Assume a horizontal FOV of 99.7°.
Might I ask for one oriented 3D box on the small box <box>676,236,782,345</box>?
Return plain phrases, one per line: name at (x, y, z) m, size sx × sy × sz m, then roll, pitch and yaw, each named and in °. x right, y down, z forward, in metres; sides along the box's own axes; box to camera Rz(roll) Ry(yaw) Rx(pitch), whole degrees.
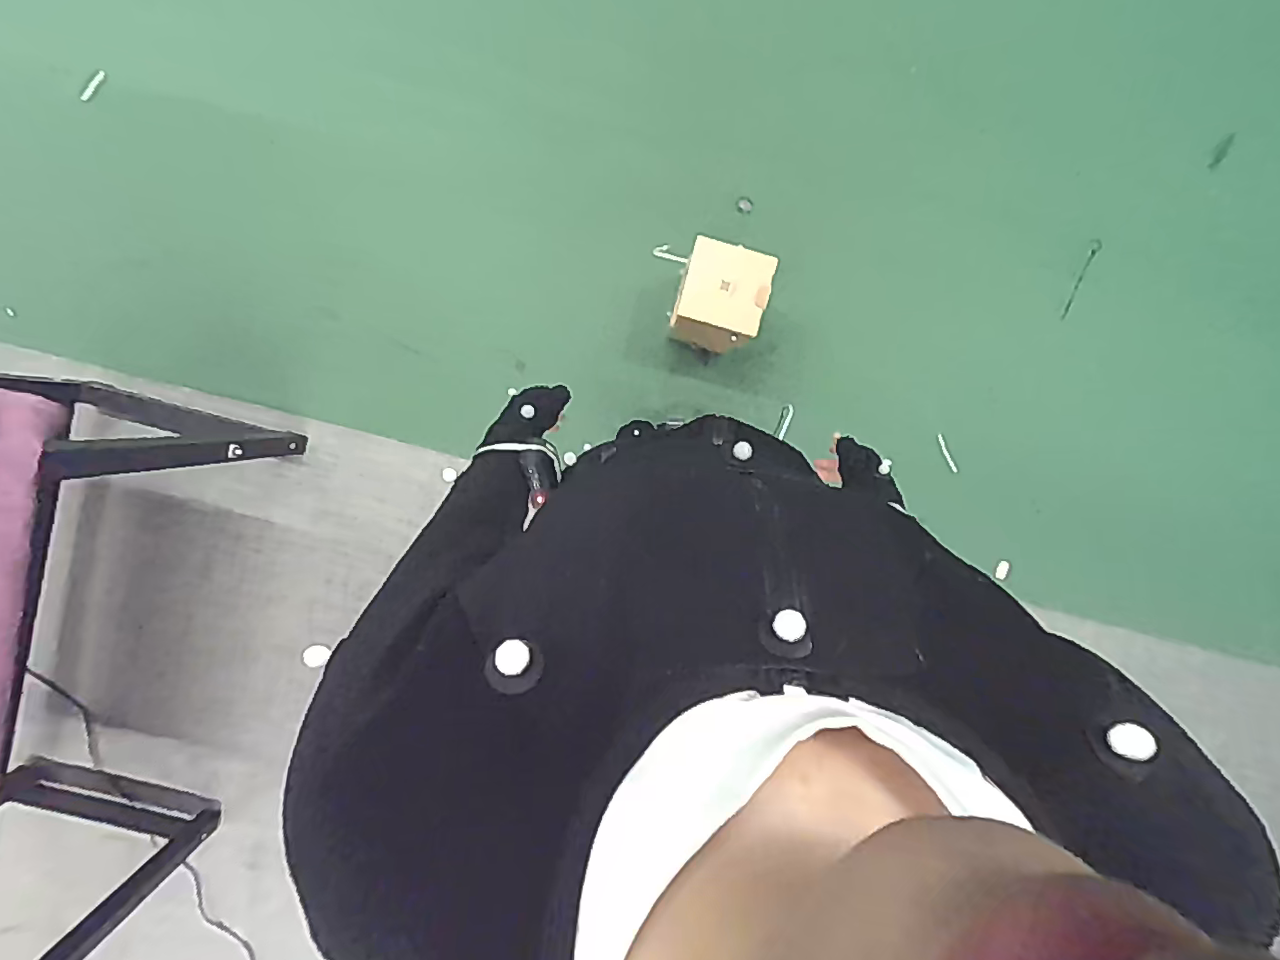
small box at (0.185, -0.404, 1.185) m, size 0.179 × 0.176 × 0.168 m, roll 15°, pitch 96°, yaw -3°
